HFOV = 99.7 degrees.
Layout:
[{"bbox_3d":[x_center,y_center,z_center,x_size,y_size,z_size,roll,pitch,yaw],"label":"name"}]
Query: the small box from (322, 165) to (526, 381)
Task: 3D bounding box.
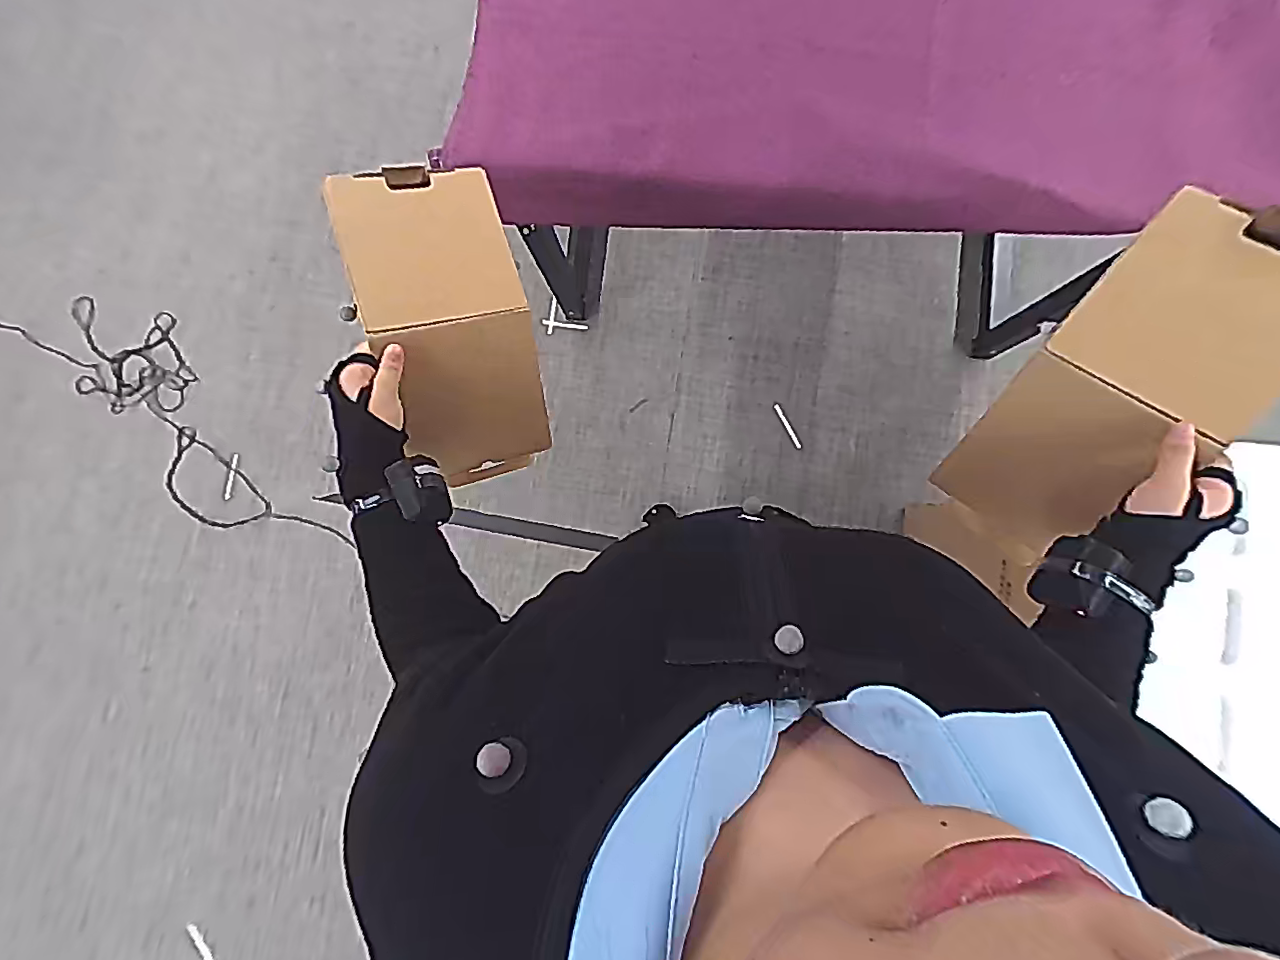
[{"bbox_3d":[-0.243,-0.228,0.630,0.168,0.176,0.179,-16,83,-22],"label":"small box"}]
